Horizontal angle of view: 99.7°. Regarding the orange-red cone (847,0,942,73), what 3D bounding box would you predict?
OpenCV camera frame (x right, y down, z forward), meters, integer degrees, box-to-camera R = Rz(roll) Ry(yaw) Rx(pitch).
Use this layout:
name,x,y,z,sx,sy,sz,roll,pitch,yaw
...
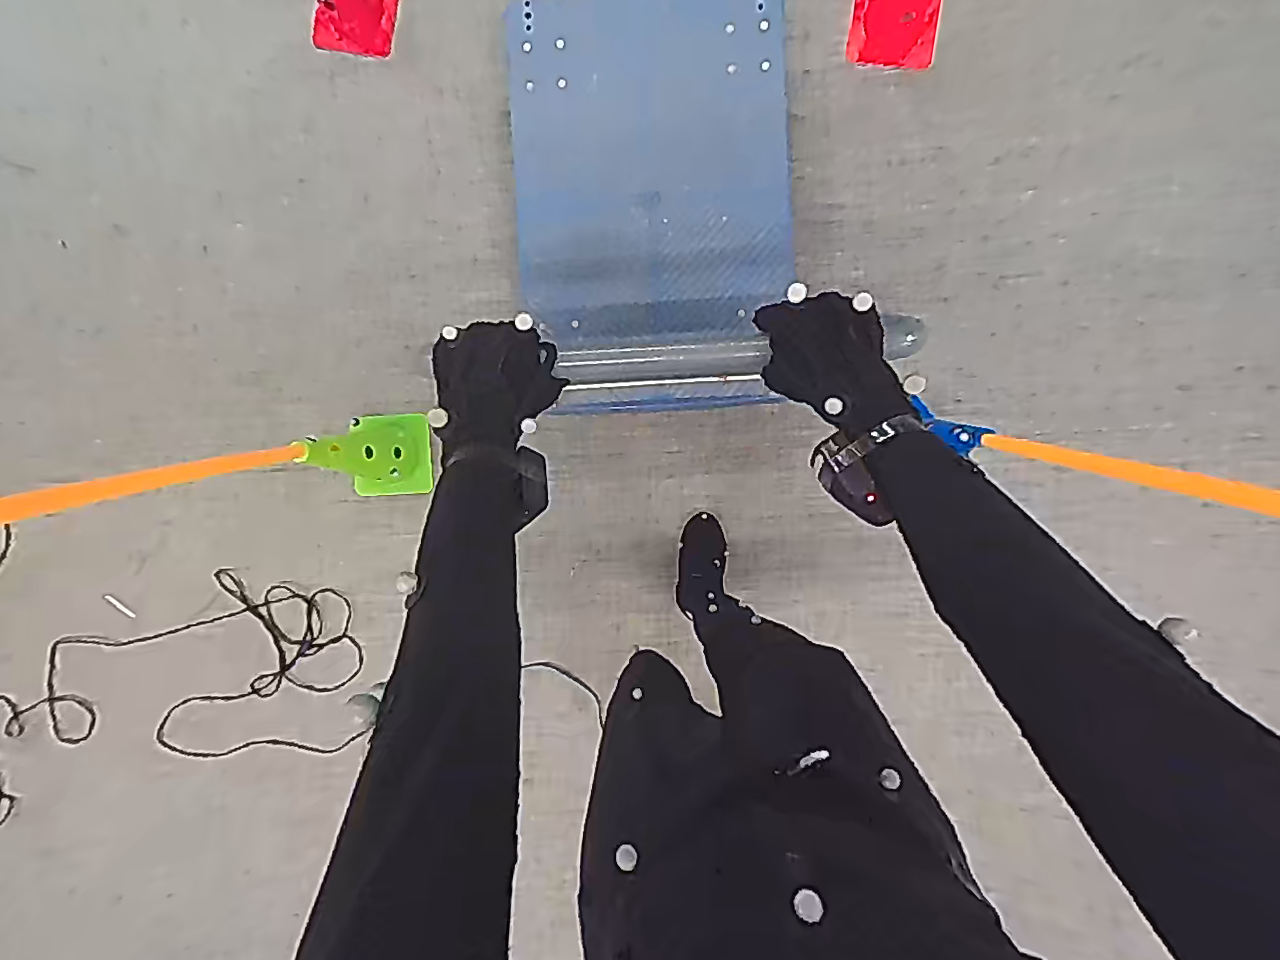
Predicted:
name,x,y,z,sx,sy,sz,roll,pitch,yaw
orange-red cone,0.587,-1.054,1.097,0.198,0.360,0.199,9,93,3
